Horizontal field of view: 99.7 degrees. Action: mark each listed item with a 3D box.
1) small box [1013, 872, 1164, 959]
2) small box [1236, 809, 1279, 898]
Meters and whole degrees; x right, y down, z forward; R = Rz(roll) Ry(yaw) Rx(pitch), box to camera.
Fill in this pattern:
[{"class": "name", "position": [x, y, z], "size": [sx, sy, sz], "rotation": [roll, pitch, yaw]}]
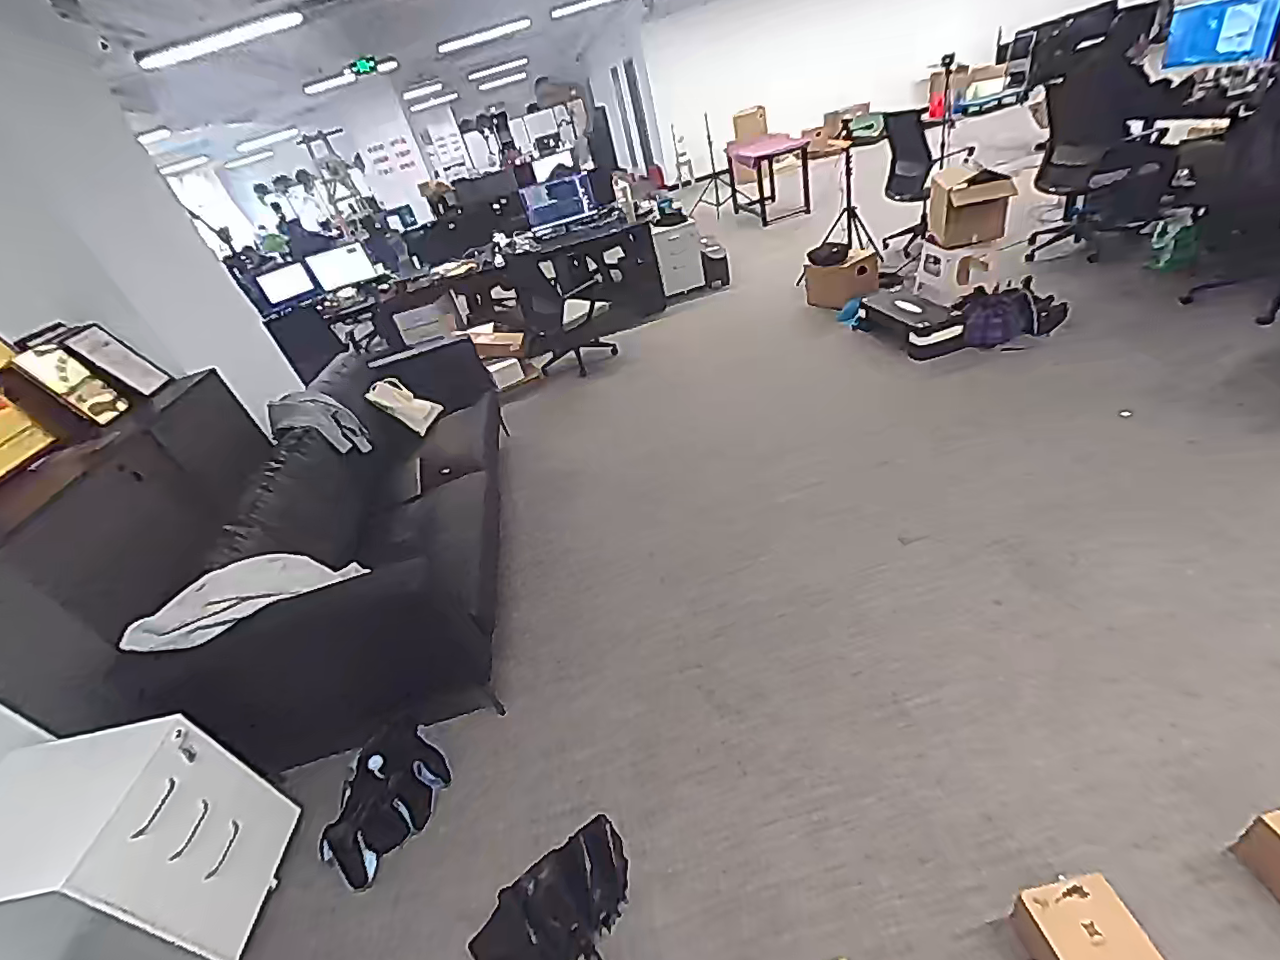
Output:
[{"class": "small box", "position": [0.870, 0.910, 1.052], "size": [0.168, 0.176, 0.179], "rotation": [-17, 34, 3]}, {"class": "small box", "position": [1.345, 0.754, 1.049], "size": [0.168, 0.176, 0.179], "rotation": [-17, 33, 2]}]
